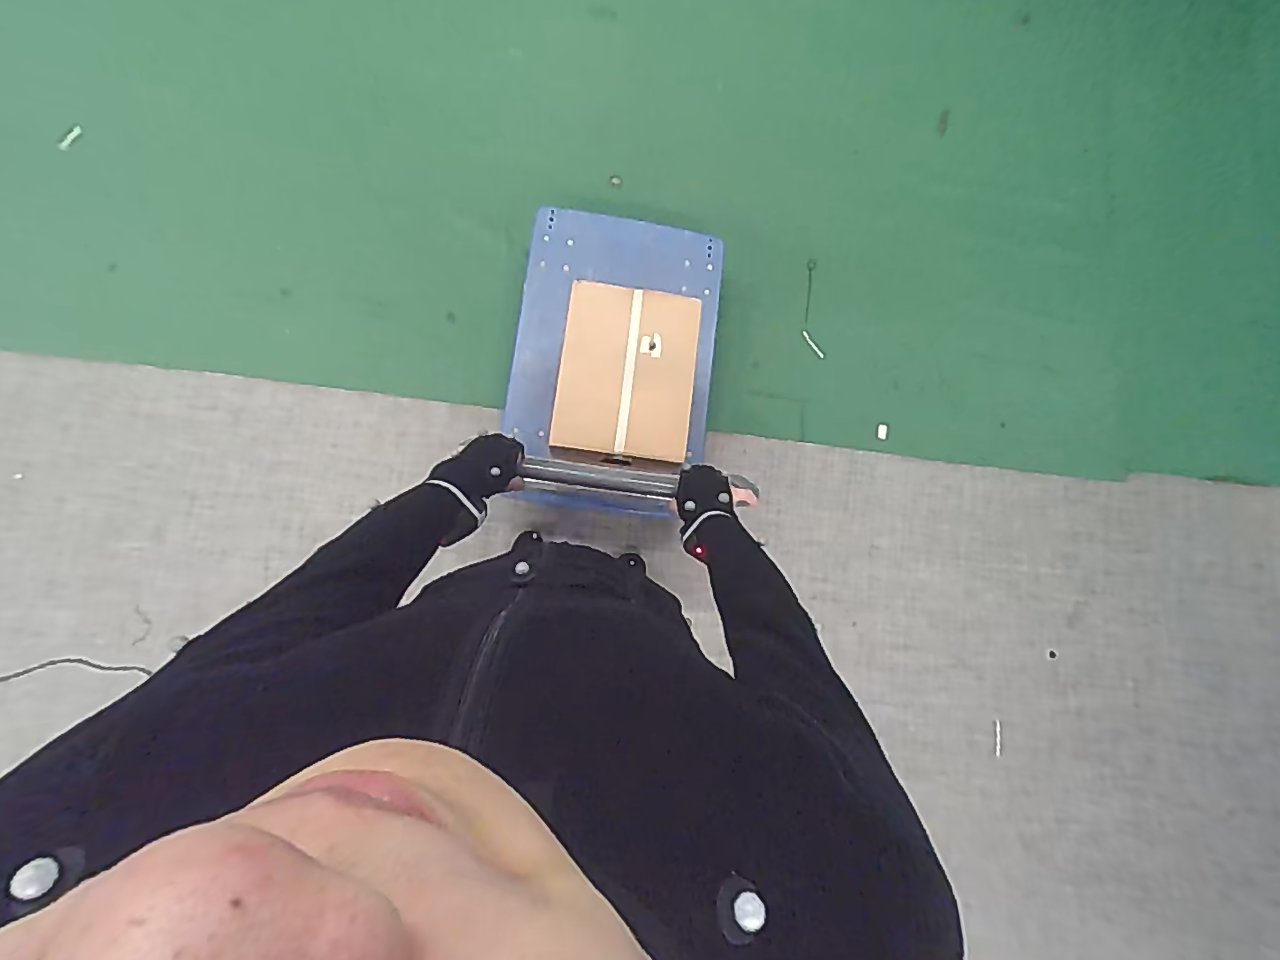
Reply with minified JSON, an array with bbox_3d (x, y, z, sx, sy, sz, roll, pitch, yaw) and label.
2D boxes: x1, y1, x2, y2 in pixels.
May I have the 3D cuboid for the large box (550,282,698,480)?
[{"bbox_3d":[-0.046,-0.229,1.394,0.320,0.320,0.408,7,80,-6],"label":"large box"}]
